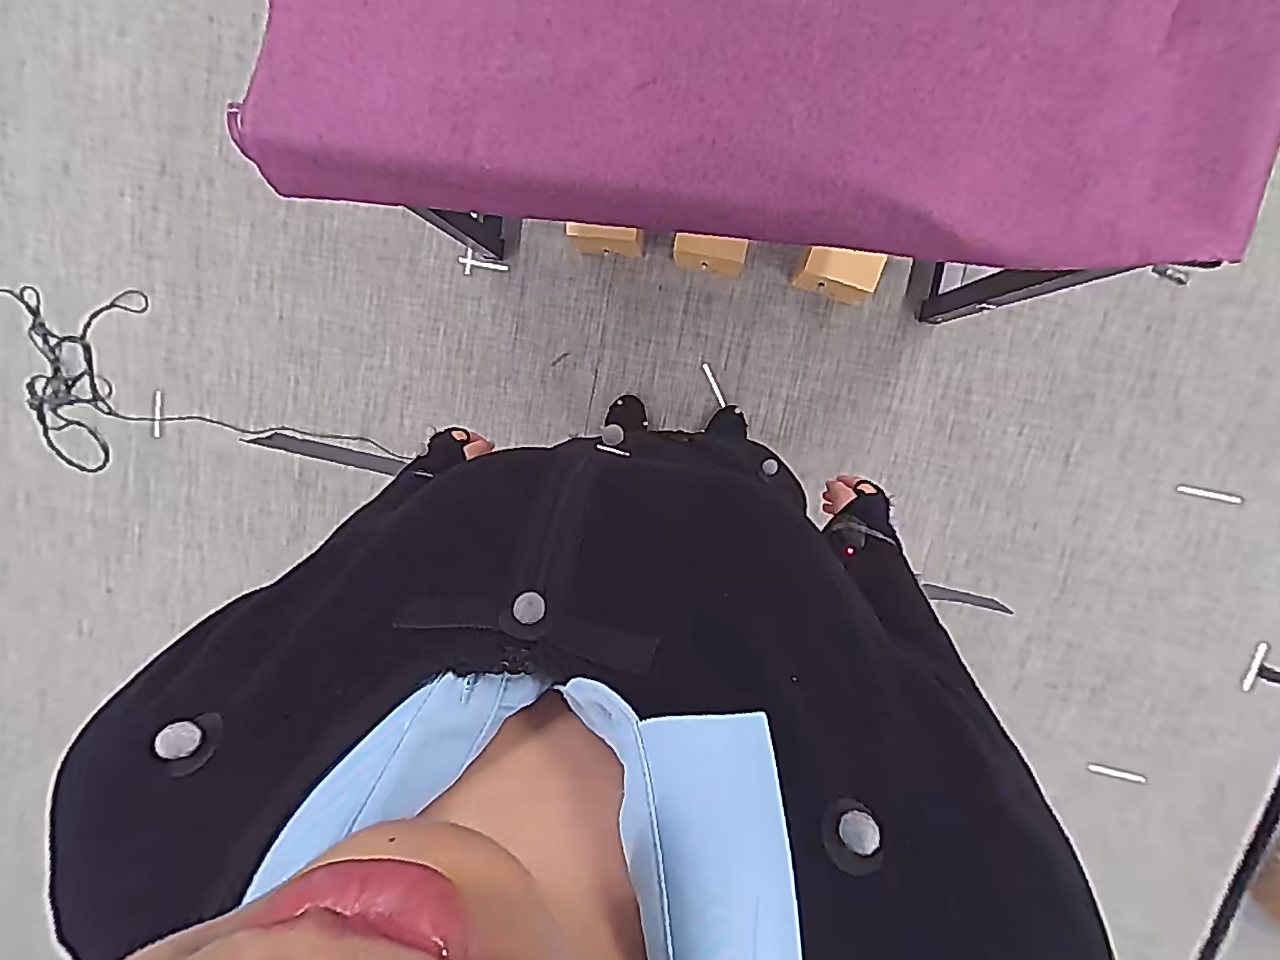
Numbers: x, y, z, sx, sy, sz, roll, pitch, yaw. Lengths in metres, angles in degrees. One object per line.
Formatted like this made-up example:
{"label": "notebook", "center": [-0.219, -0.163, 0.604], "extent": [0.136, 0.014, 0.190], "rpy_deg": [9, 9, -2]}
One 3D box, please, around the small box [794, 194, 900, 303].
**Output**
{"label": "small box", "center": [0.479, -0.539, 1.286], "extent": [0.168, 0.176, 0.179], "rpy_deg": [20, 100, 2]}

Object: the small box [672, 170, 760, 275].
{"label": "small box", "center": [0.178, -0.607, 1.299], "extent": [0.168, 0.176, 0.179], "rpy_deg": [12, 100, 2]}
